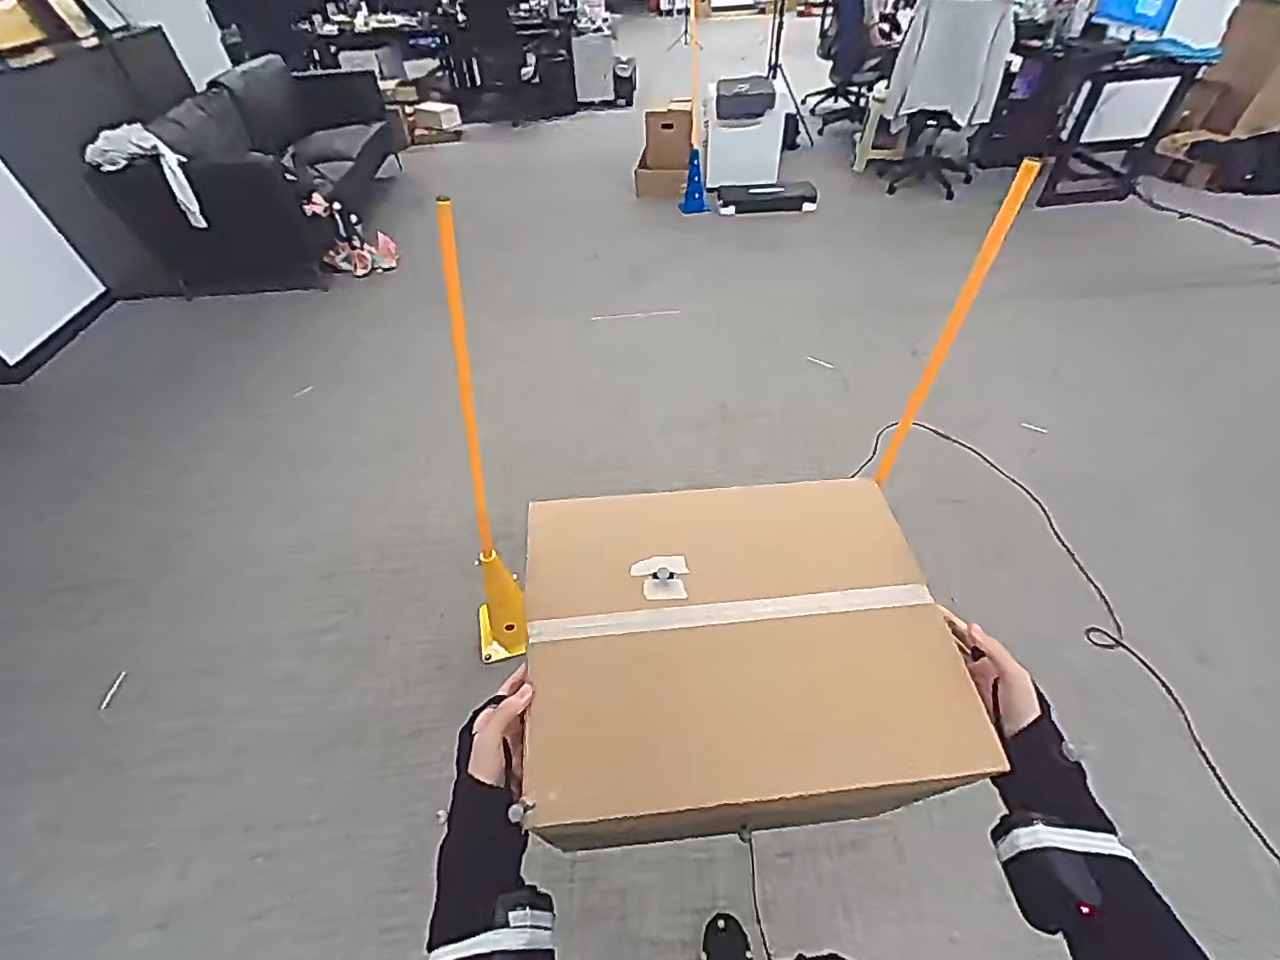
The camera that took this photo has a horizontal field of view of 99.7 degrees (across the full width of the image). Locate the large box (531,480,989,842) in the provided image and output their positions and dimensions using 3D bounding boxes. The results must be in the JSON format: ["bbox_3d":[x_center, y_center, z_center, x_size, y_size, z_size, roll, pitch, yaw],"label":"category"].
[{"bbox_3d":[0.093,0.228,0.660,0.408,0.320,0.320,-5,53,-4],"label":"large box"}]
